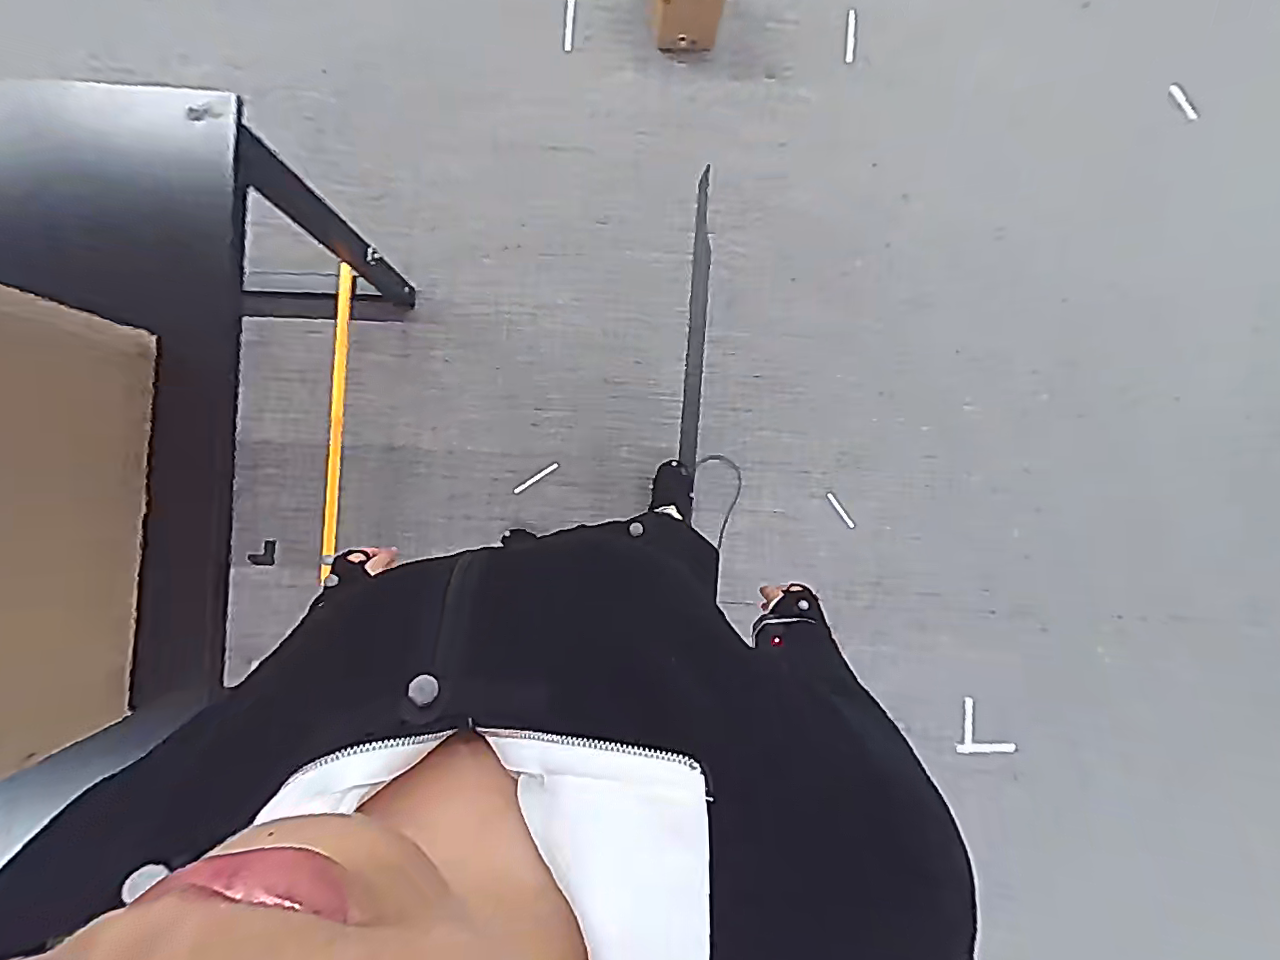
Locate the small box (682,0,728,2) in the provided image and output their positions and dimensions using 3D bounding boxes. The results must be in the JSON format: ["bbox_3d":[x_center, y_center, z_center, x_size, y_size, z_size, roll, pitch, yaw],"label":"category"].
[{"bbox_3d":[0.152,-1.286,1.283,0.168,0.176,0.179,-4,90,-2],"label":"small box"}]

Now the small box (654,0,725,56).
[{"bbox_3d":[0.127,-1.286,1.446,0.168,0.176,0.179,-3,91,-2],"label":"small box"}]
